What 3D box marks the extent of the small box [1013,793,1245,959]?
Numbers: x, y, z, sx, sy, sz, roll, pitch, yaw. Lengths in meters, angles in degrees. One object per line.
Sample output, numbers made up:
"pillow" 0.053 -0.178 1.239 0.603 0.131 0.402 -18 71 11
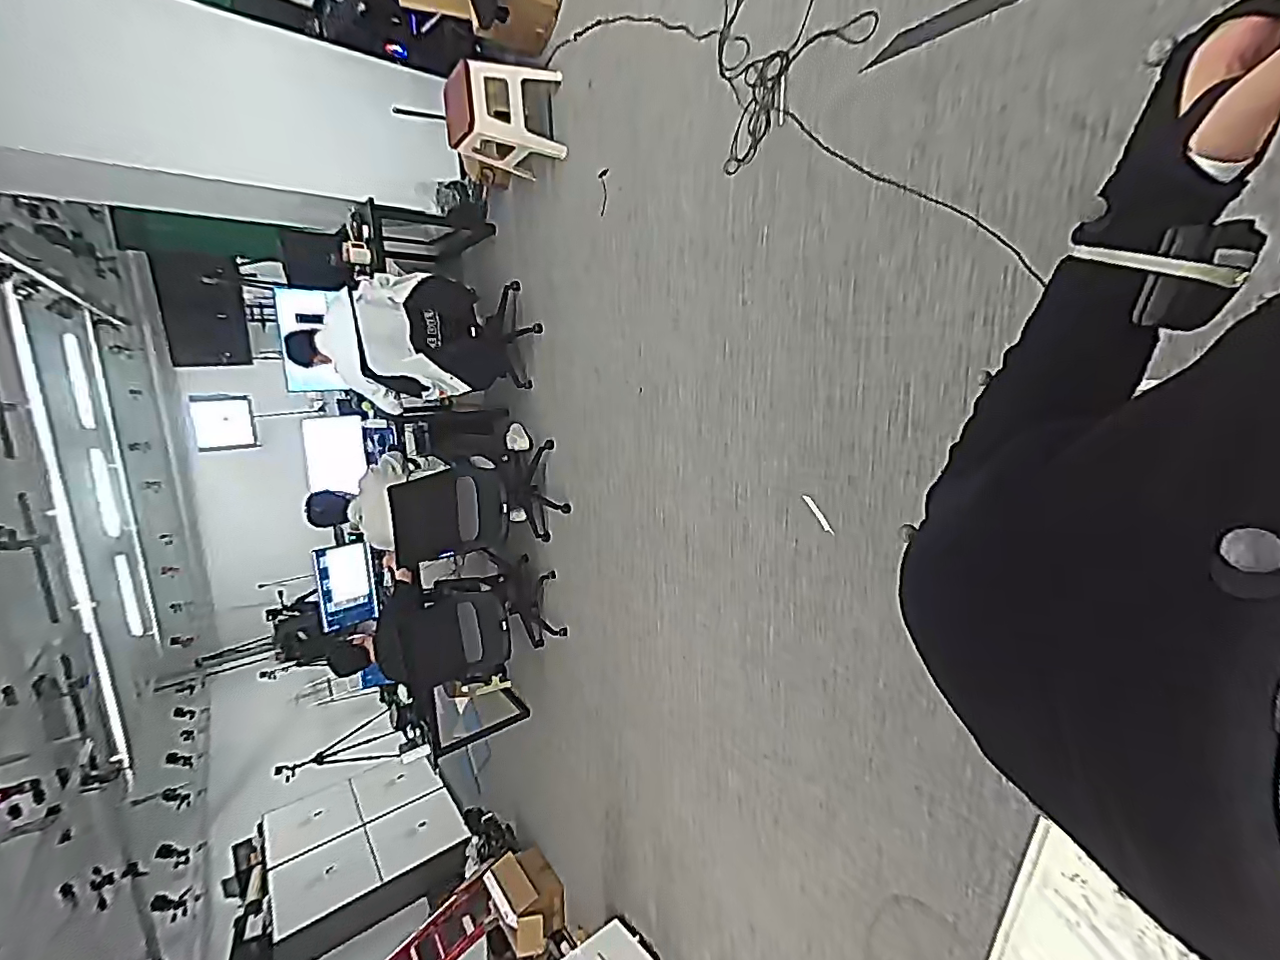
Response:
"small box" 0.628 0.559 0.699 0.168 0.176 0.179 25 117 50
